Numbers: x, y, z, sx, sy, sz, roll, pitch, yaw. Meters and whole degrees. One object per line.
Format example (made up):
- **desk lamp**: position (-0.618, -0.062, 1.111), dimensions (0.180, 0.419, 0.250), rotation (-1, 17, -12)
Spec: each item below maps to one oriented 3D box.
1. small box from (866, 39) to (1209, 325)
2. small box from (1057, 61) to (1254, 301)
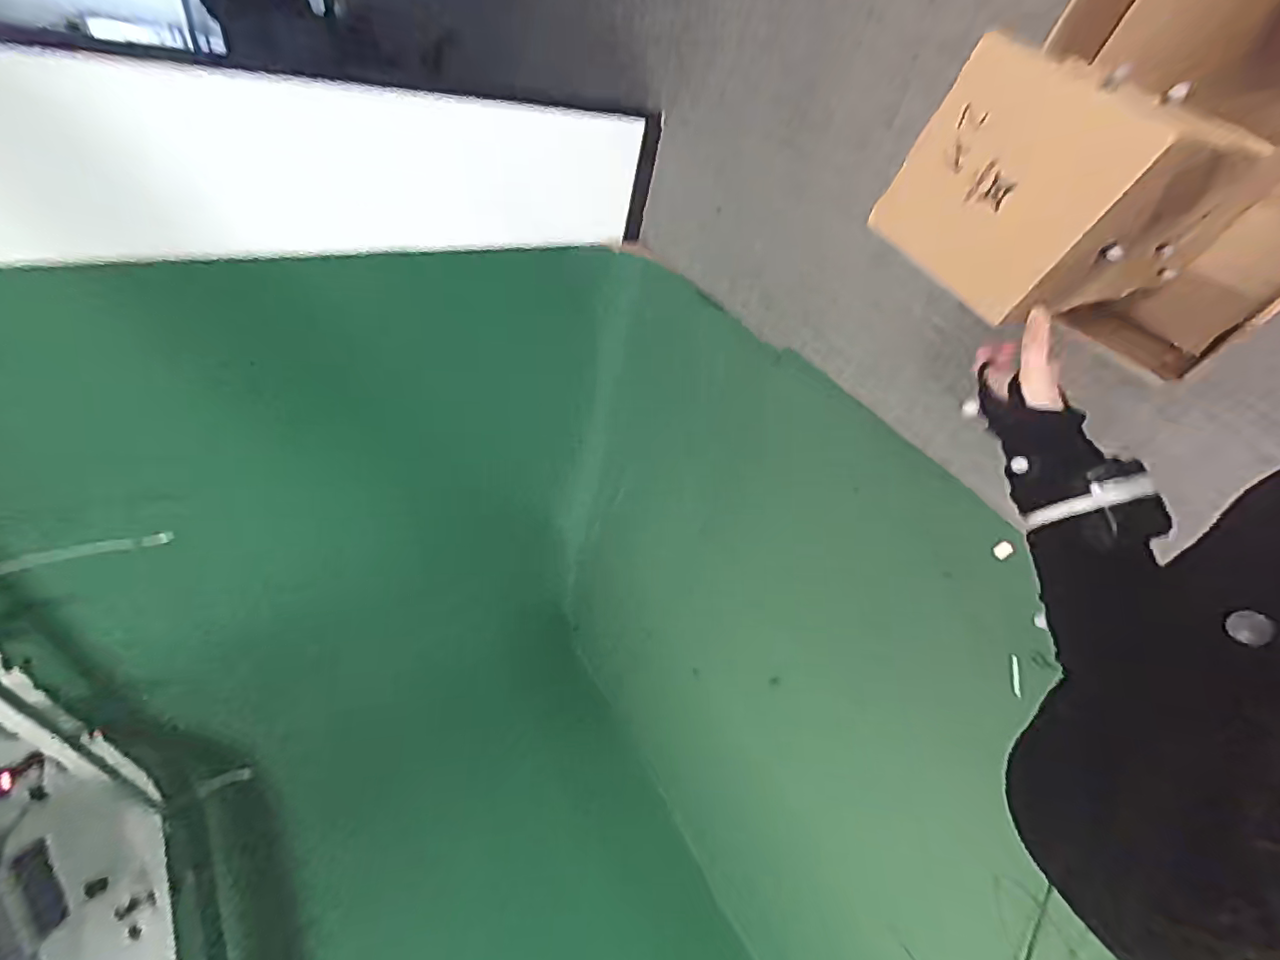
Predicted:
- **small box**: position (0.368, -0.275, 0.515), dimensions (0.179, 0.176, 0.168), rotation (56, 144, 24)
- **small box**: position (0.501, -0.322, 0.601), dimensions (0.179, 0.176, 0.168), rotation (55, 144, 25)
